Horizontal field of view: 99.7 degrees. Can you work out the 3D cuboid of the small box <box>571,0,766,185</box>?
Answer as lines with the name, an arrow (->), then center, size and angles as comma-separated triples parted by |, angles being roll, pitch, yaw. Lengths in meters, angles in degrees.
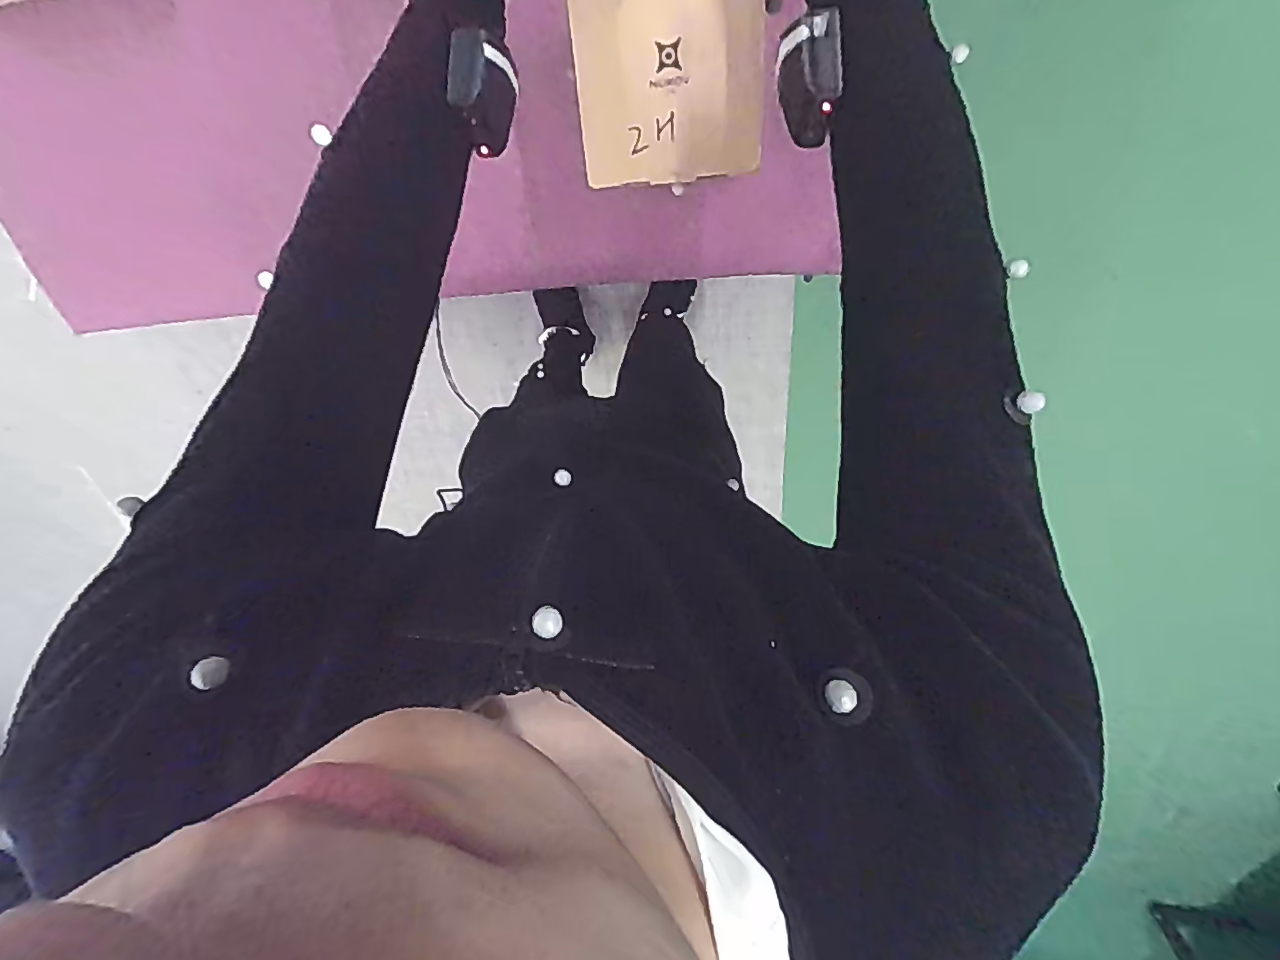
small box -> 0.033, -0.399, 0.539 | 0.168, 0.176, 0.179 | 1, 121, 8
